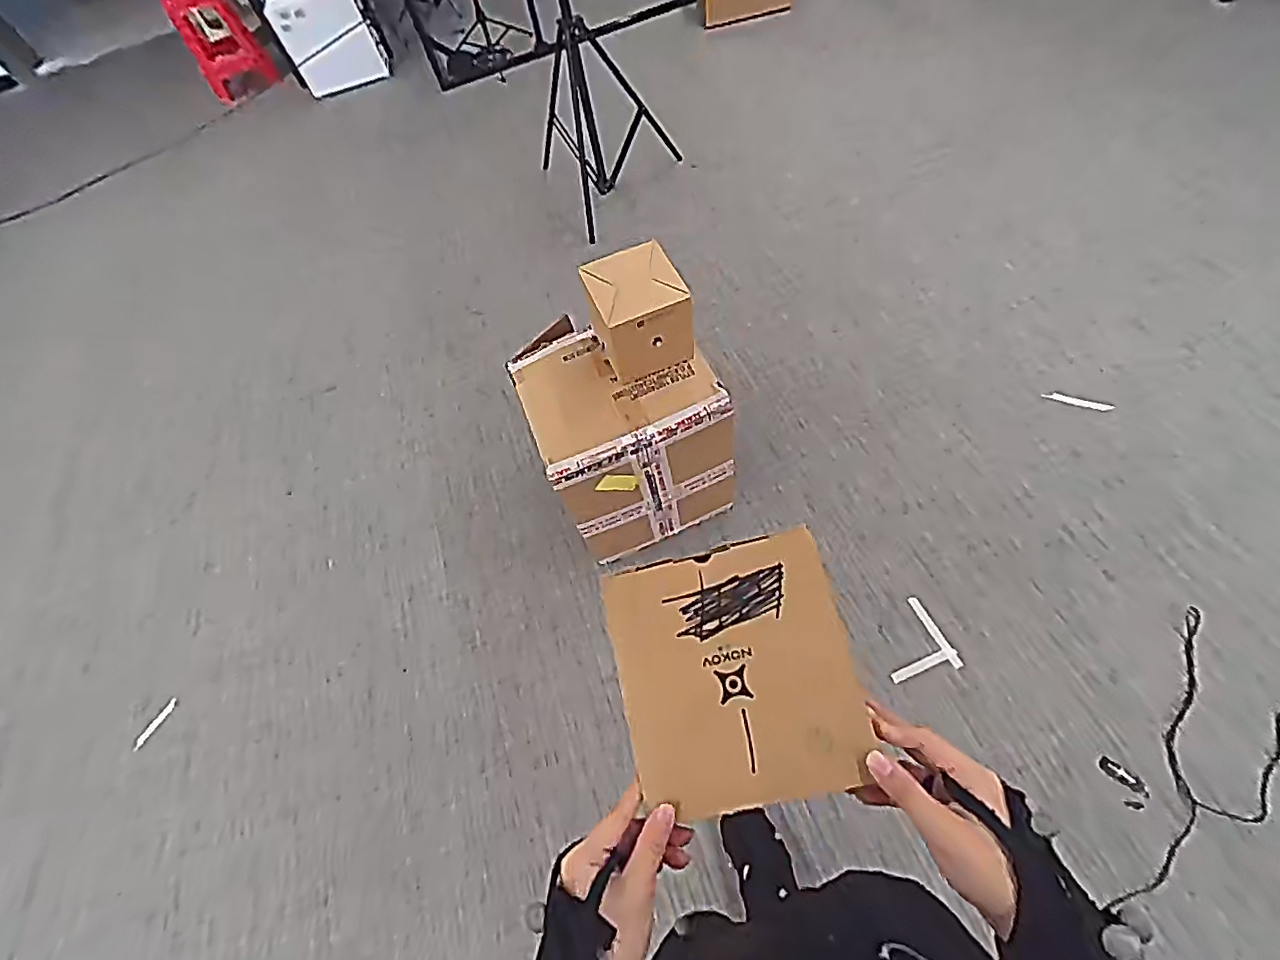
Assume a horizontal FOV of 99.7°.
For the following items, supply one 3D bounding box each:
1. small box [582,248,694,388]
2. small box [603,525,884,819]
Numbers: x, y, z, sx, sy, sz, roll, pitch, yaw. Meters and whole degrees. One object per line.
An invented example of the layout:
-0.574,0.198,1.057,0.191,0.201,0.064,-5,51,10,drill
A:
-0.005,-0.322,1.076,0.168,0.176,0.179,-22,62,-6,small box
0.078,0.153,0.462,0.168,0.176,0.179,-15,74,6,small box
